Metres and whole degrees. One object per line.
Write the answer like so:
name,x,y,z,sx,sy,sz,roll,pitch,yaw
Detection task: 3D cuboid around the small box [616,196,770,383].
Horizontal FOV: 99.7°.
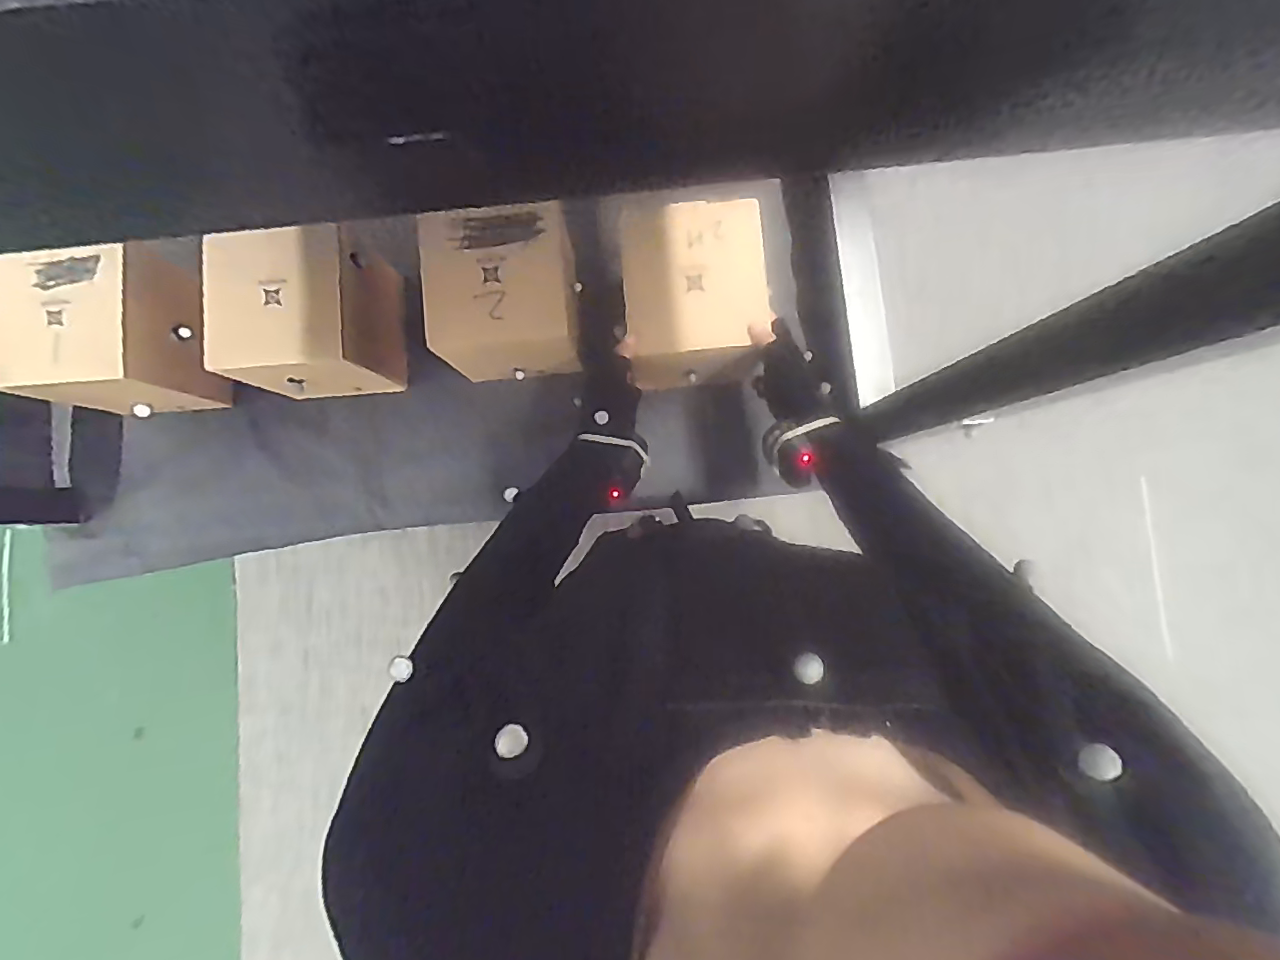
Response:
small box,0.064,-0.230,0.702,0.168,0.176,0.179,-6,85,1

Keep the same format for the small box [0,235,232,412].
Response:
small box,-0.680,-0.195,0.715,0.168,0.176,0.179,-4,87,1

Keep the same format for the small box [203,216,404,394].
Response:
small box,-0.428,-0.216,0.714,0.168,0.176,0.179,-4,86,1
